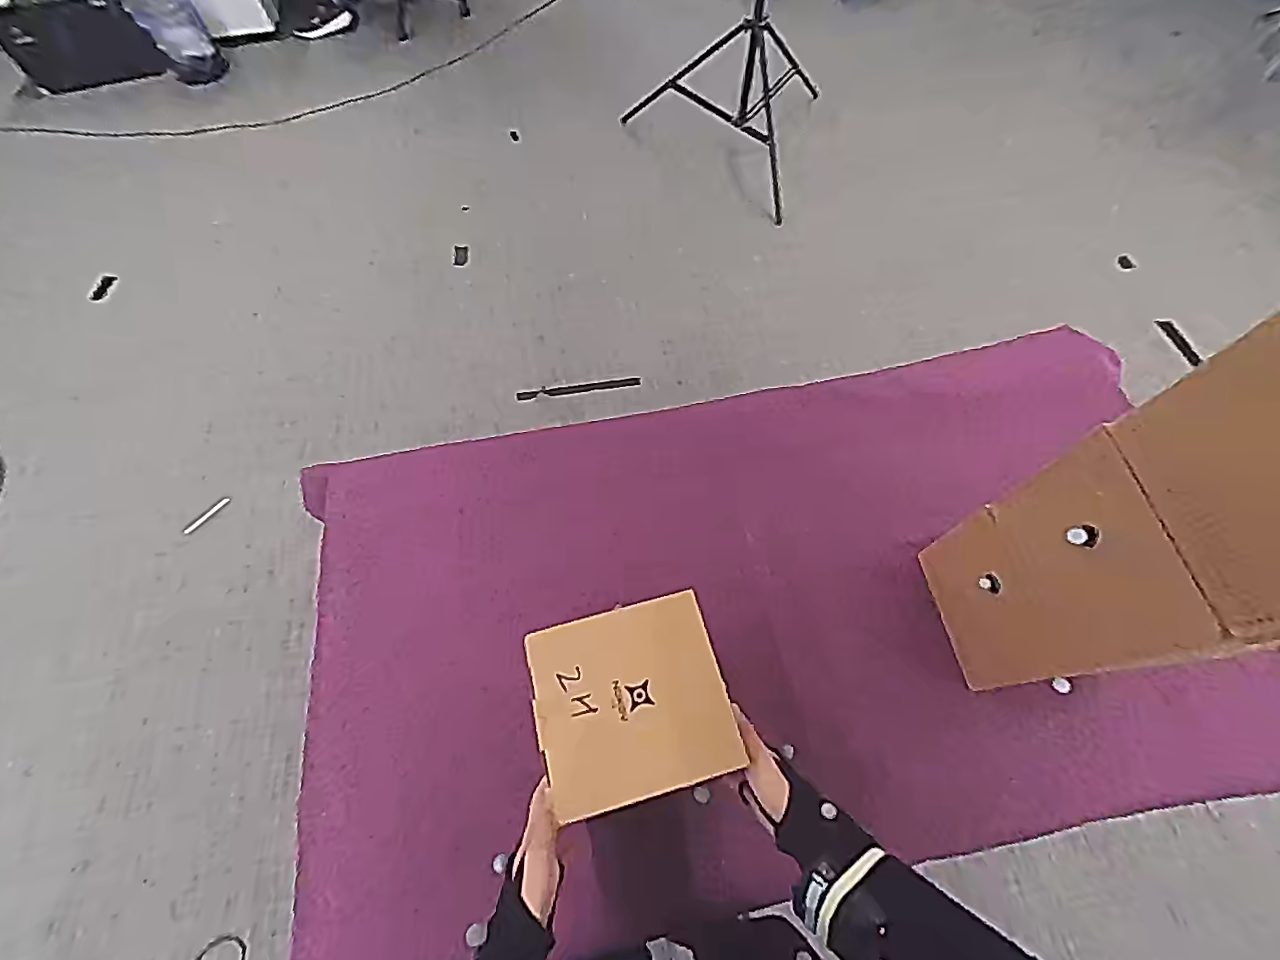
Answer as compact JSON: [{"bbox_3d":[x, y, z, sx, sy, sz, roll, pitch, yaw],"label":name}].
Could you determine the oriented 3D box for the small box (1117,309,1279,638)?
[{"bbox_3d":[0.460,-0.008,0.323,0.168,0.176,0.179,-6,63,-2],"label":"small box"}]

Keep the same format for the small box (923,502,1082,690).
[{"bbox_3d":[0.462,0.130,0.619,0.168,0.176,0.179,-8,63,-3],"label":"small box"}]

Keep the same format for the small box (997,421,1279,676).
[{"bbox_3d":[0.461,0.061,0.471,0.168,0.176,0.179,-6,62,-2],"label":"small box"}]

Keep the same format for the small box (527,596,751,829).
[{"bbox_3d":[-0.005,0.241,0.566,0.179,0.176,0.168,-14,61,-6],"label":"small box"}]
